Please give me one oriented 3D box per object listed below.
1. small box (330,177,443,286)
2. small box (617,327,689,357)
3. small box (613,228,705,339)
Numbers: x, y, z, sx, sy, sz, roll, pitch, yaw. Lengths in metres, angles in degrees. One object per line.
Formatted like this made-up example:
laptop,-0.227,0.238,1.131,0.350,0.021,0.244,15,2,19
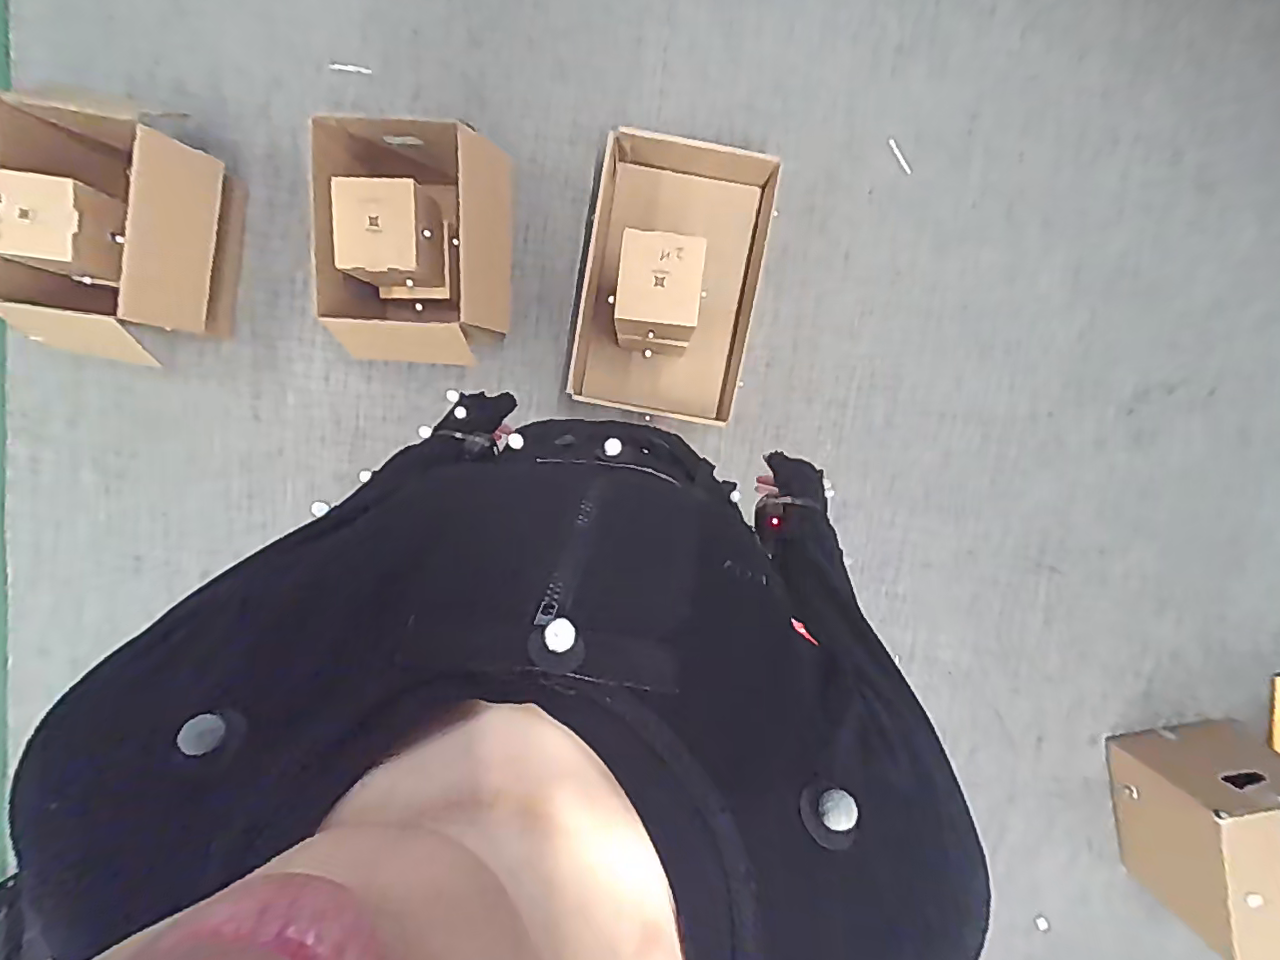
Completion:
small box,-0.530,-0.518,1.151,0.168,0.176,0.179,1,98,0
small box,0.038,-0.405,1.295,0.168,0.176,0.179,9,95,-1
small box,0.036,-0.400,1.130,0.168,0.176,0.179,6,94,-1
